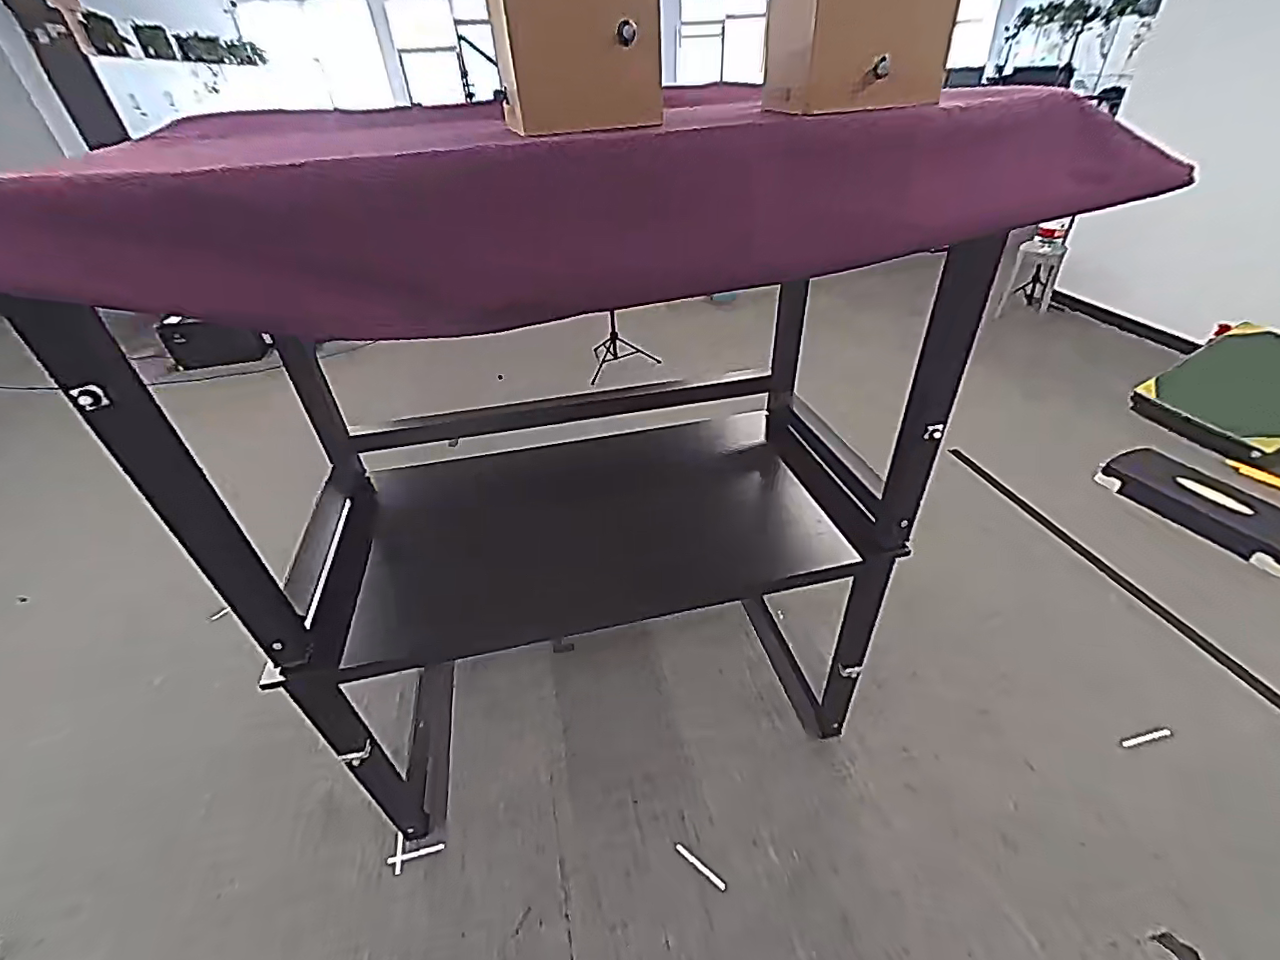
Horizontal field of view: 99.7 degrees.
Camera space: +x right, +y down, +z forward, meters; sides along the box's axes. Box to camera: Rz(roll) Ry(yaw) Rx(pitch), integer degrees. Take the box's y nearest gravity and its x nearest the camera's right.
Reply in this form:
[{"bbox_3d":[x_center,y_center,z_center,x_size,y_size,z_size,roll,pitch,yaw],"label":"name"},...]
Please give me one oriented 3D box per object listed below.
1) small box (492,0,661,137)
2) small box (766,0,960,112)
[{"bbox_3d":[-0.078,-0.528,0.656,0.179,0.176,0.168,-14,37,-12],"label":"small box"},{"bbox_3d":[0.269,-0.567,0.669,0.179,0.176,0.168,-8,36,-5],"label":"small box"}]
